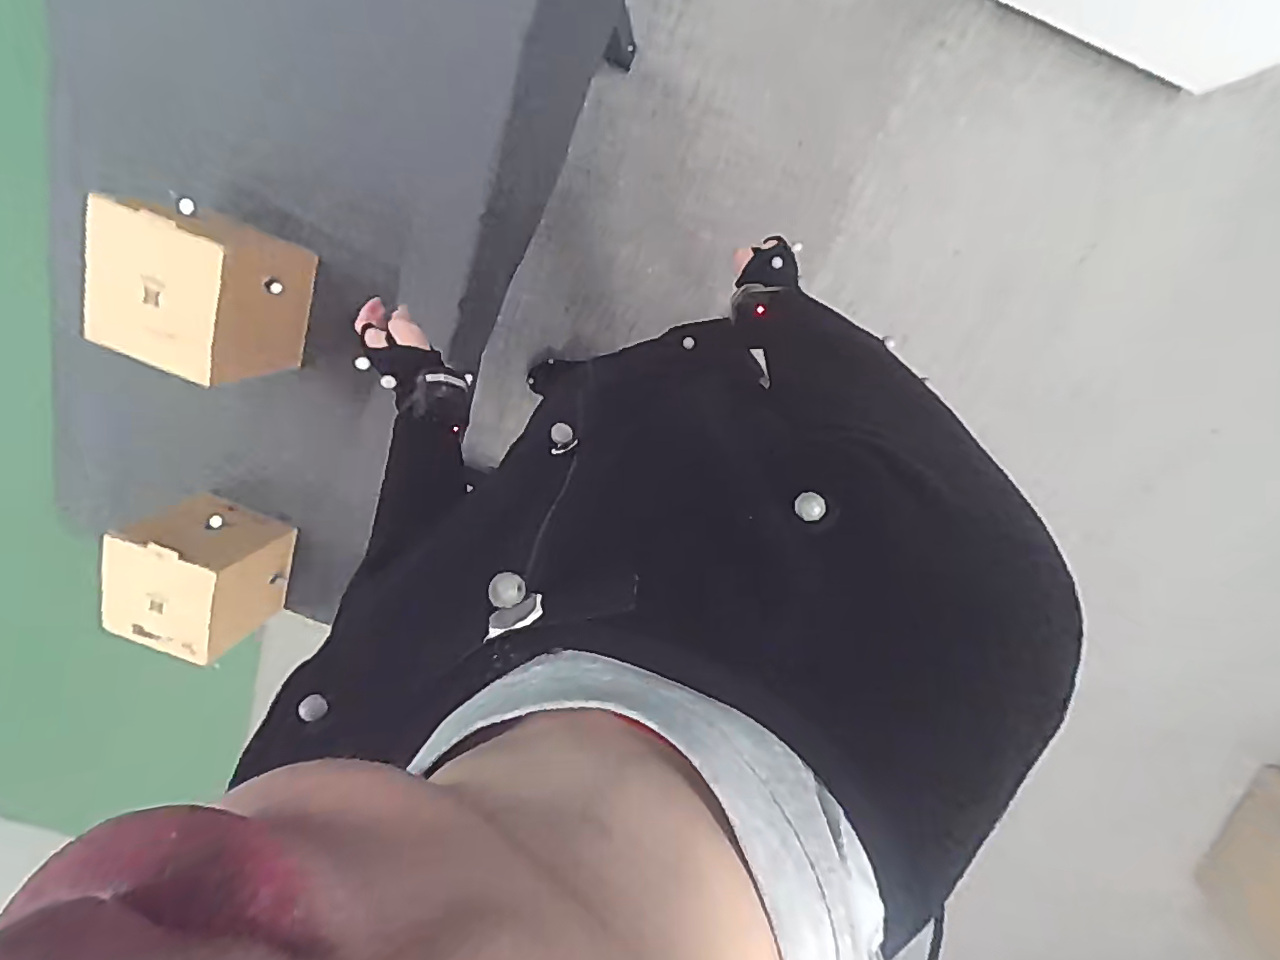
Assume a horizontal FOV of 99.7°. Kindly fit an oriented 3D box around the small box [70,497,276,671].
[{"bbox_3d":[-0.698,0.148,0.825,0.168,0.176,0.179,21,108,-3],"label":"small box"}]

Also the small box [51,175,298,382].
[{"bbox_3d":[-0.570,-0.247,0.681,0.168,0.176,0.179,22,111,-3],"label":"small box"}]
